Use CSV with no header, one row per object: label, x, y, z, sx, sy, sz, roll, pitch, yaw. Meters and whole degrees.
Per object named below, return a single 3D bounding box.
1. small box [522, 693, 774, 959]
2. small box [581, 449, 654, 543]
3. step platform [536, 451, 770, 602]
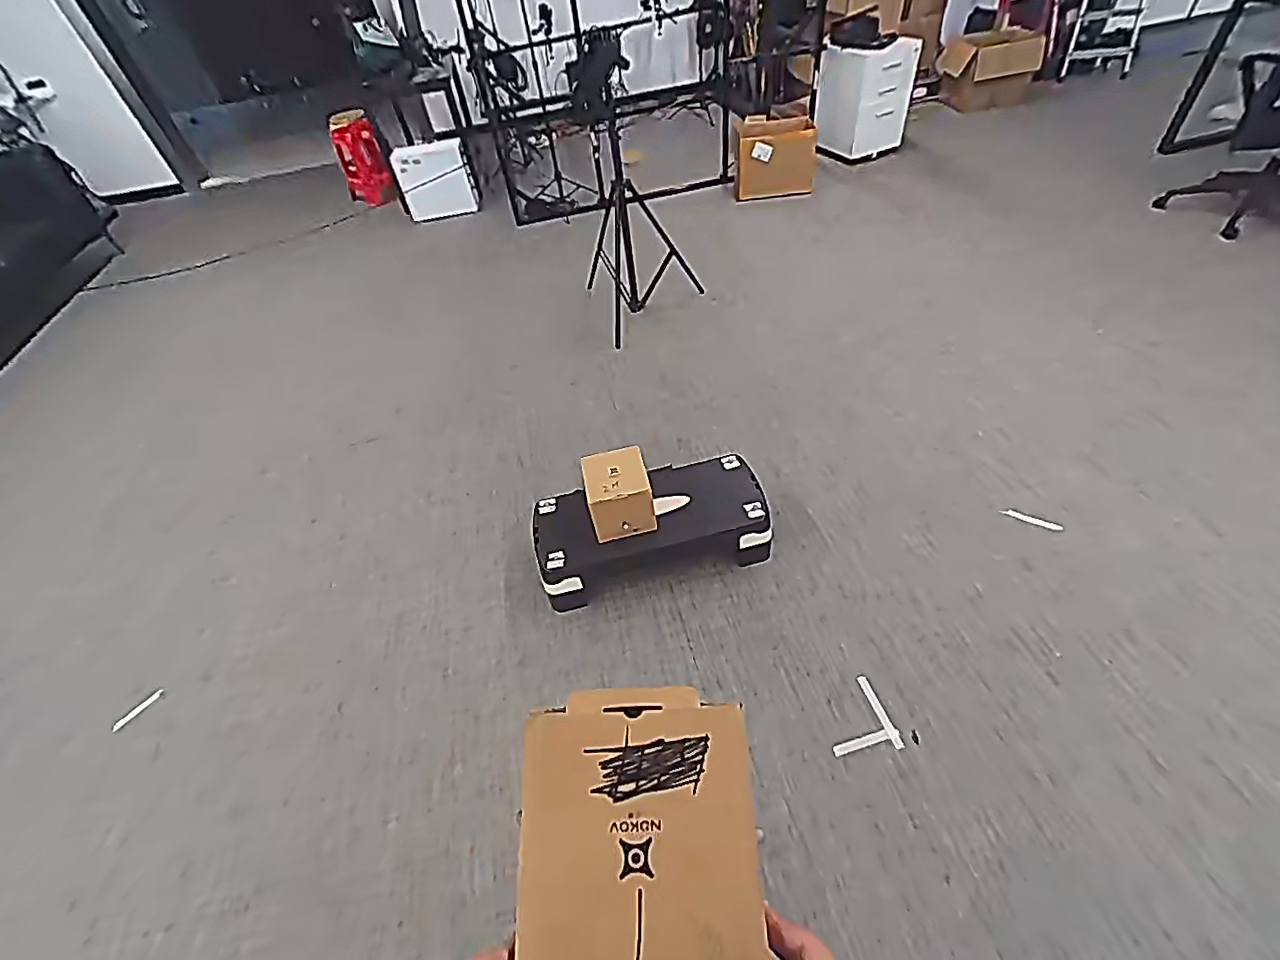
small box,0.006,0.280,0.450,0.168,0.176,0.179,-3,65,2
small box,-0.062,0.045,1.485,0.168,0.176,0.179,-13,47,-3
step platform,0.035,0.132,1.629,0.684,0.204,0.286,-14,46,-4
